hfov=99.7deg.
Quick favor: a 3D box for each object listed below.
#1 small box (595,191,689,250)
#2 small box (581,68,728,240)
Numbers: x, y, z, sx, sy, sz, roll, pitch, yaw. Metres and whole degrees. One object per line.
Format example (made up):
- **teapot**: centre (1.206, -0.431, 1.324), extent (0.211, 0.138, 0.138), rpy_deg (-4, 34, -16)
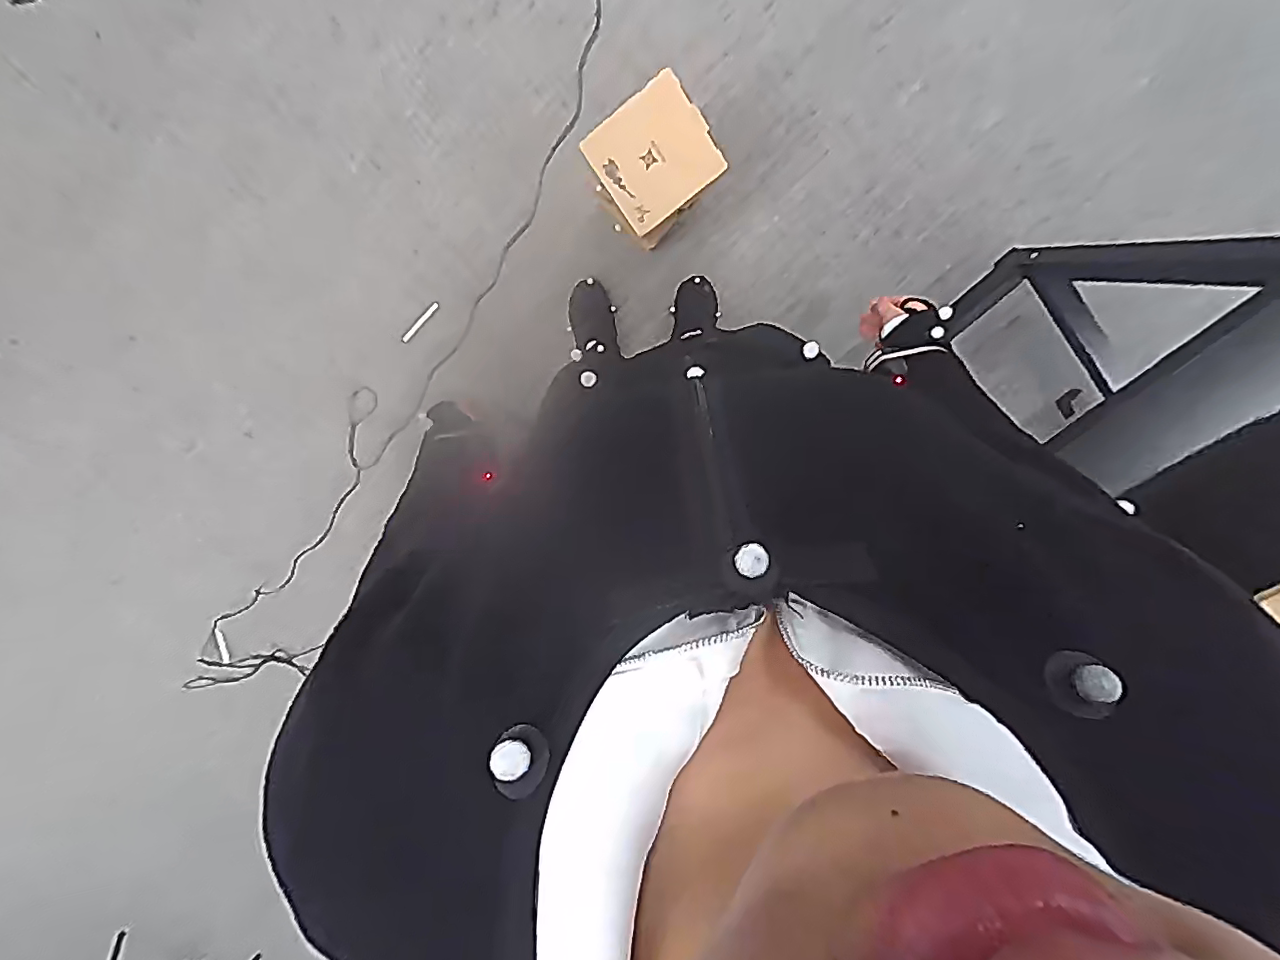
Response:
- **small box**: centre (0.019, -0.643, 1.213), extent (0.168, 0.176, 0.179), rpy_deg (41, 107, -14)
- **small box**: centre (0.021, -0.529, 0.908), extent (0.179, 0.176, 0.168), rpy_deg (-34, 107, 12)
